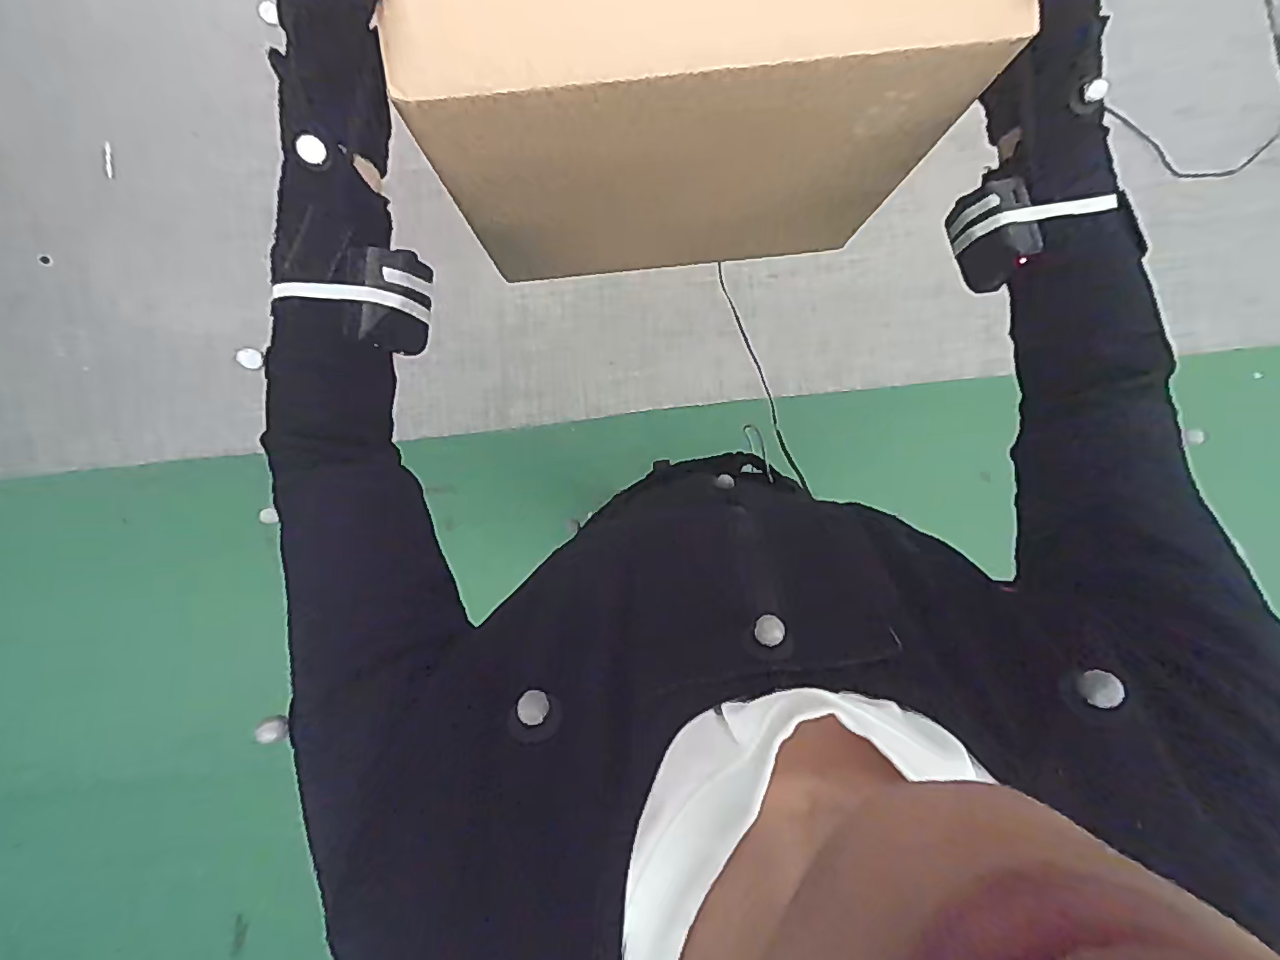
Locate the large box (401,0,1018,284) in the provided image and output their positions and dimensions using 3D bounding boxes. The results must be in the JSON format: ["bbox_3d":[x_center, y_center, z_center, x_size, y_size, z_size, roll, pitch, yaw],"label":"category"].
[{"bbox_3d":[0.027,-0.406,0.497,0.408,0.320,0.320,-7,90,-2],"label":"large box"}]
